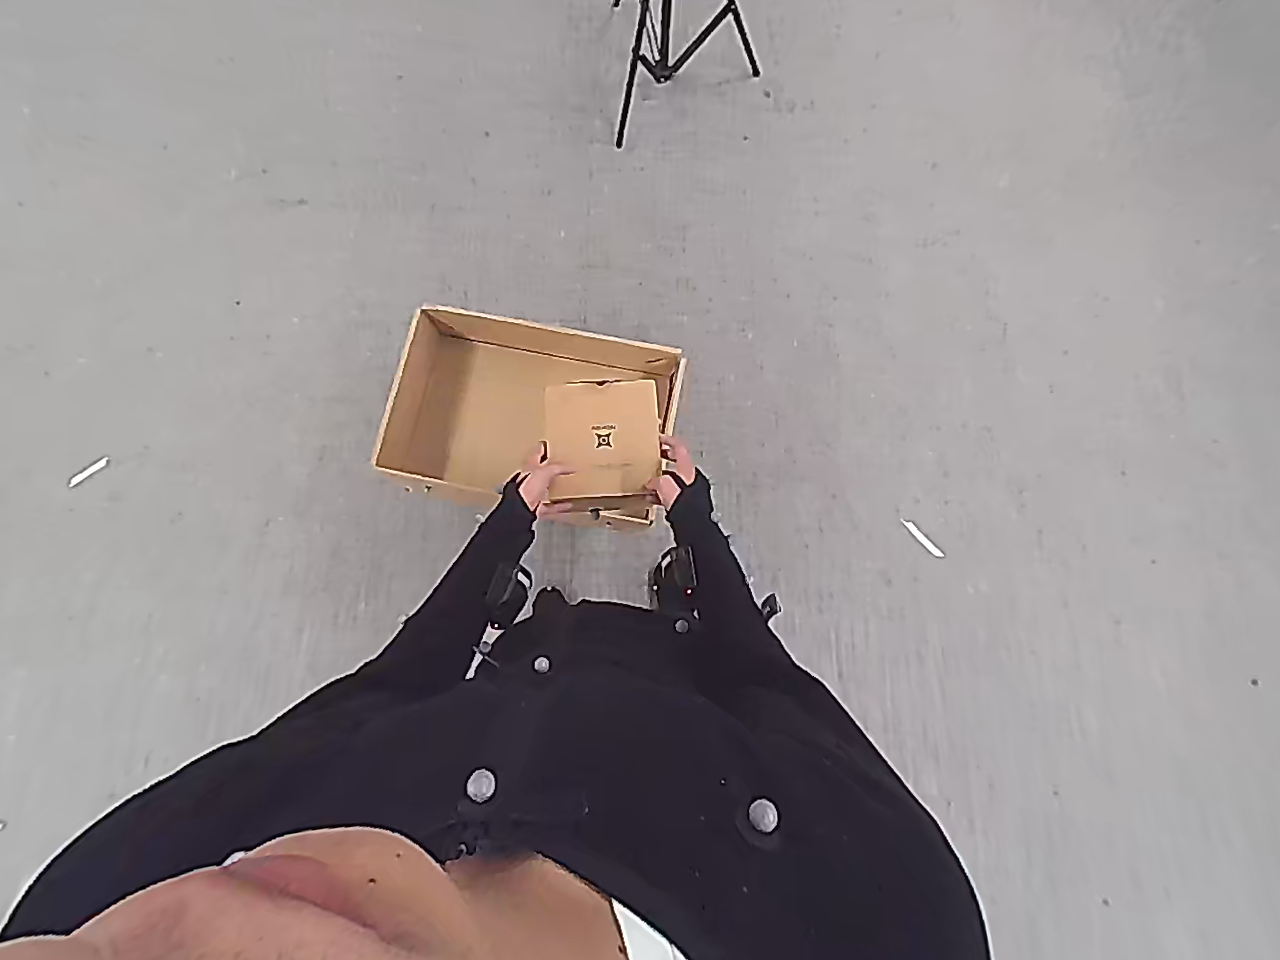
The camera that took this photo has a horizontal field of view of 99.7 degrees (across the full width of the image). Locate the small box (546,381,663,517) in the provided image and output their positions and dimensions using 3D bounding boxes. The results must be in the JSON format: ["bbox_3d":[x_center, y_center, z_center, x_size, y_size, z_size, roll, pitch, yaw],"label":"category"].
[{"bbox_3d":[-0.059,-0.042,0.851,0.168,0.176,0.179,-3,79,-5],"label":"small box"}]
